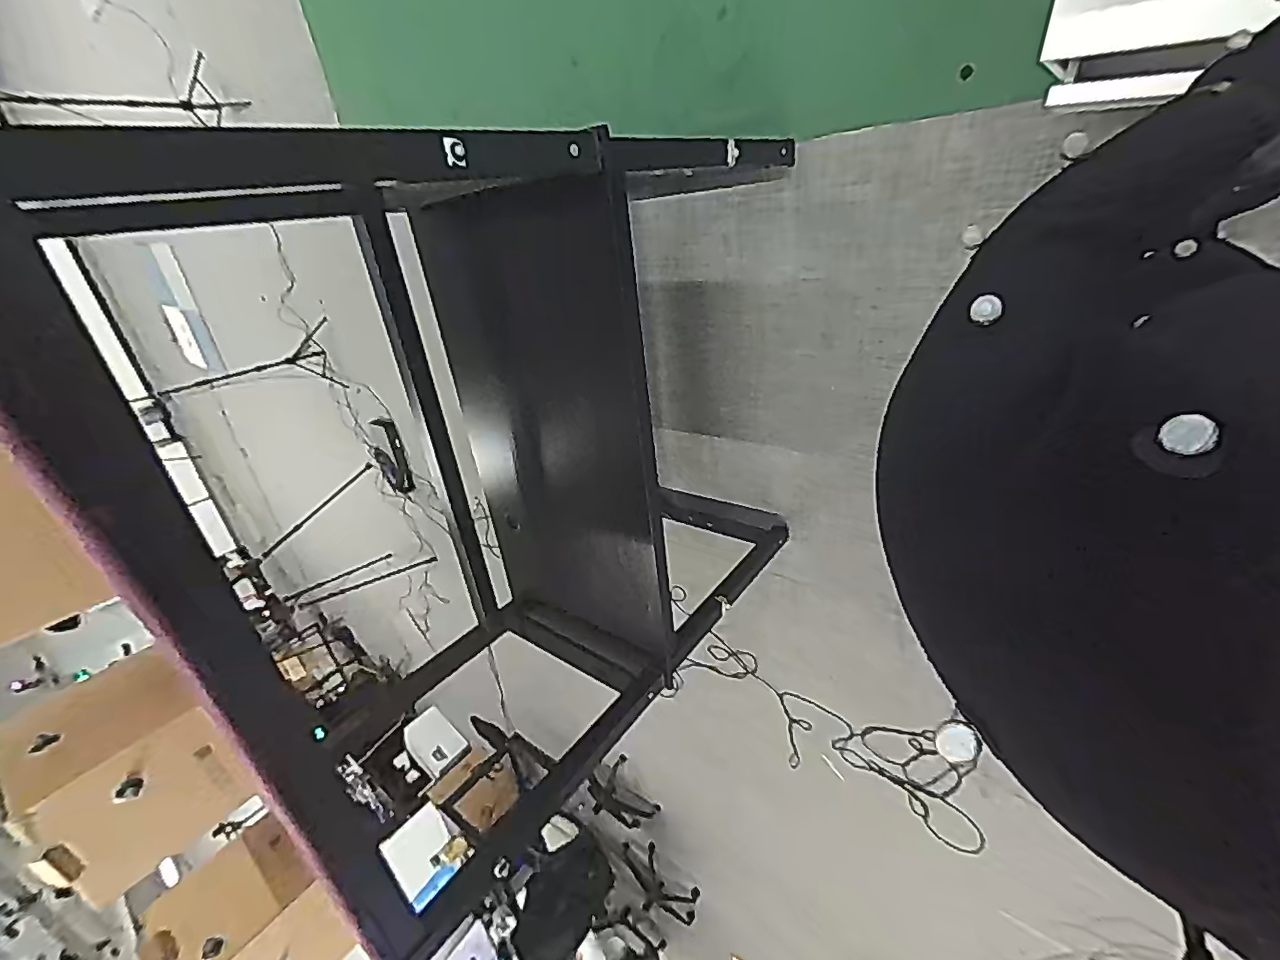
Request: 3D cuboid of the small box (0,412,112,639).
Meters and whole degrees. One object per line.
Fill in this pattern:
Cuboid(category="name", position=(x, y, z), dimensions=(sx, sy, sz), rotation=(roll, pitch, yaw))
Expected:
Cuboid(category="small box", position=(-0.640, 0.054, 0.499), dimensions=(0.168, 0.176, 0.179), rotation=(15, 124, 39))

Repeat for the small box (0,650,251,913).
Cuboid(category="small box", position=(-0.596, 0.333, 0.633), dimensions=(0.179, 0.176, 0.168), rotation=(16, 123, 36))
